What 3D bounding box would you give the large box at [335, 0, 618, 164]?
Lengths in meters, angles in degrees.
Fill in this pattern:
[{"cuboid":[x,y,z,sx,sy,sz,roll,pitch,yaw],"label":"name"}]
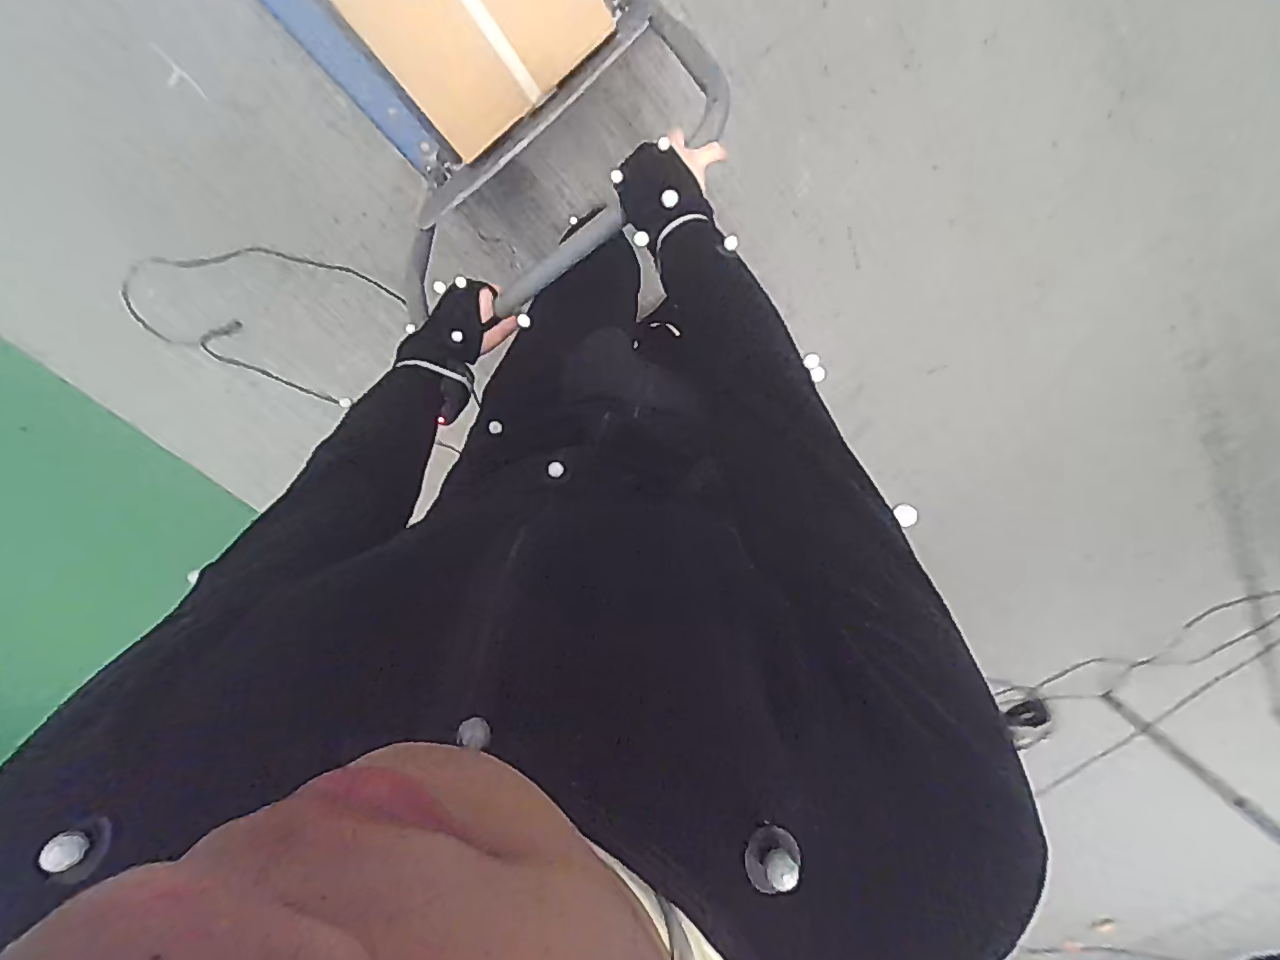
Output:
[{"cuboid":[-0.280,-0.814,0.853,0.320,0.320,0.408,-30,131,19],"label":"large box"}]
